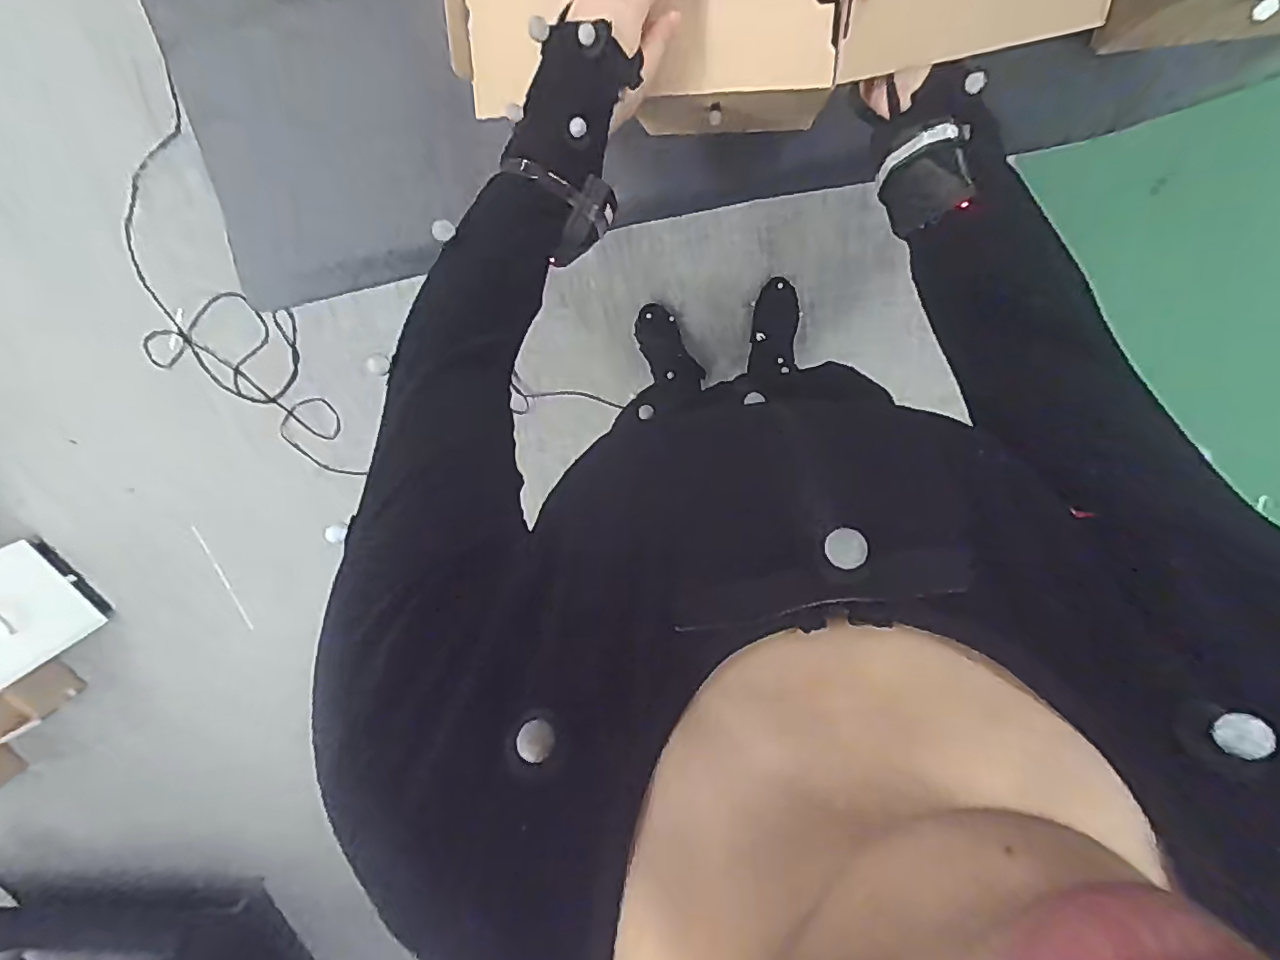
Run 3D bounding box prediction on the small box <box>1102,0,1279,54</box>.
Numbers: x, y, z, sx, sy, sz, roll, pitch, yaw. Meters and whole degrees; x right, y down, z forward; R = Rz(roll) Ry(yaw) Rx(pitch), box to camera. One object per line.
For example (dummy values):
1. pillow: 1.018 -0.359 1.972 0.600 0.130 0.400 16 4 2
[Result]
1. small box: 0.501 -0.449 0.401 0.179 0.176 0.168 0 111 9
